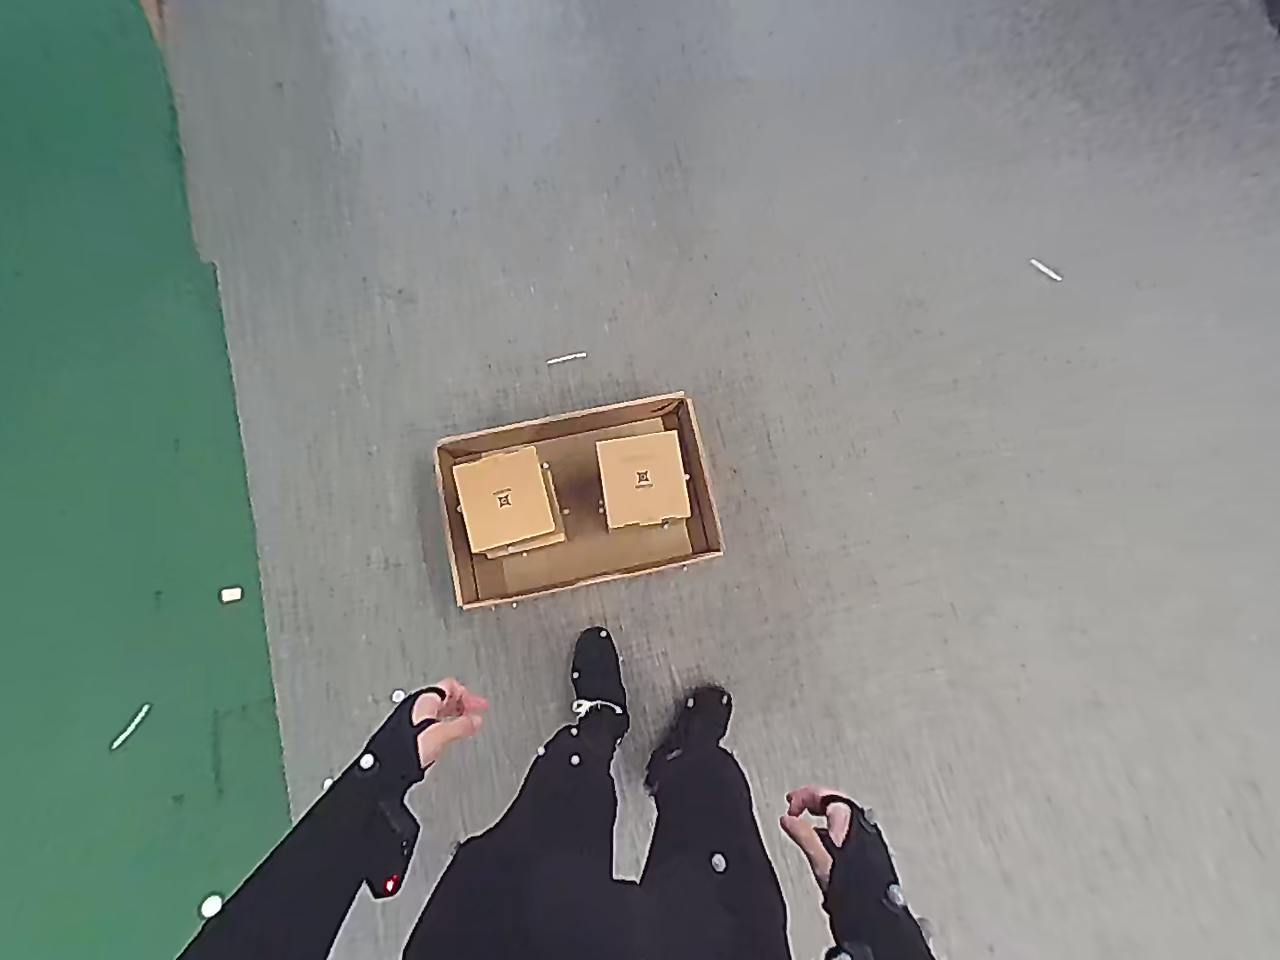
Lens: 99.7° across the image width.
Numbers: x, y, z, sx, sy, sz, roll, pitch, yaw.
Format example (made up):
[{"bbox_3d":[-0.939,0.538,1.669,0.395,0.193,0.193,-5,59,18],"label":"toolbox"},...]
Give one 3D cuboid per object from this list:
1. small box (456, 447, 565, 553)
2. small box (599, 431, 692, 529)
[{"bbox_3d":[-0.261,0.048,1.128,0.168,0.176,0.179,-15,82,-4],"label":"small box"},{"bbox_3d":[0.010,0.009,1.139,0.168,0.176,0.179,-8,82,-3],"label":"small box"}]
